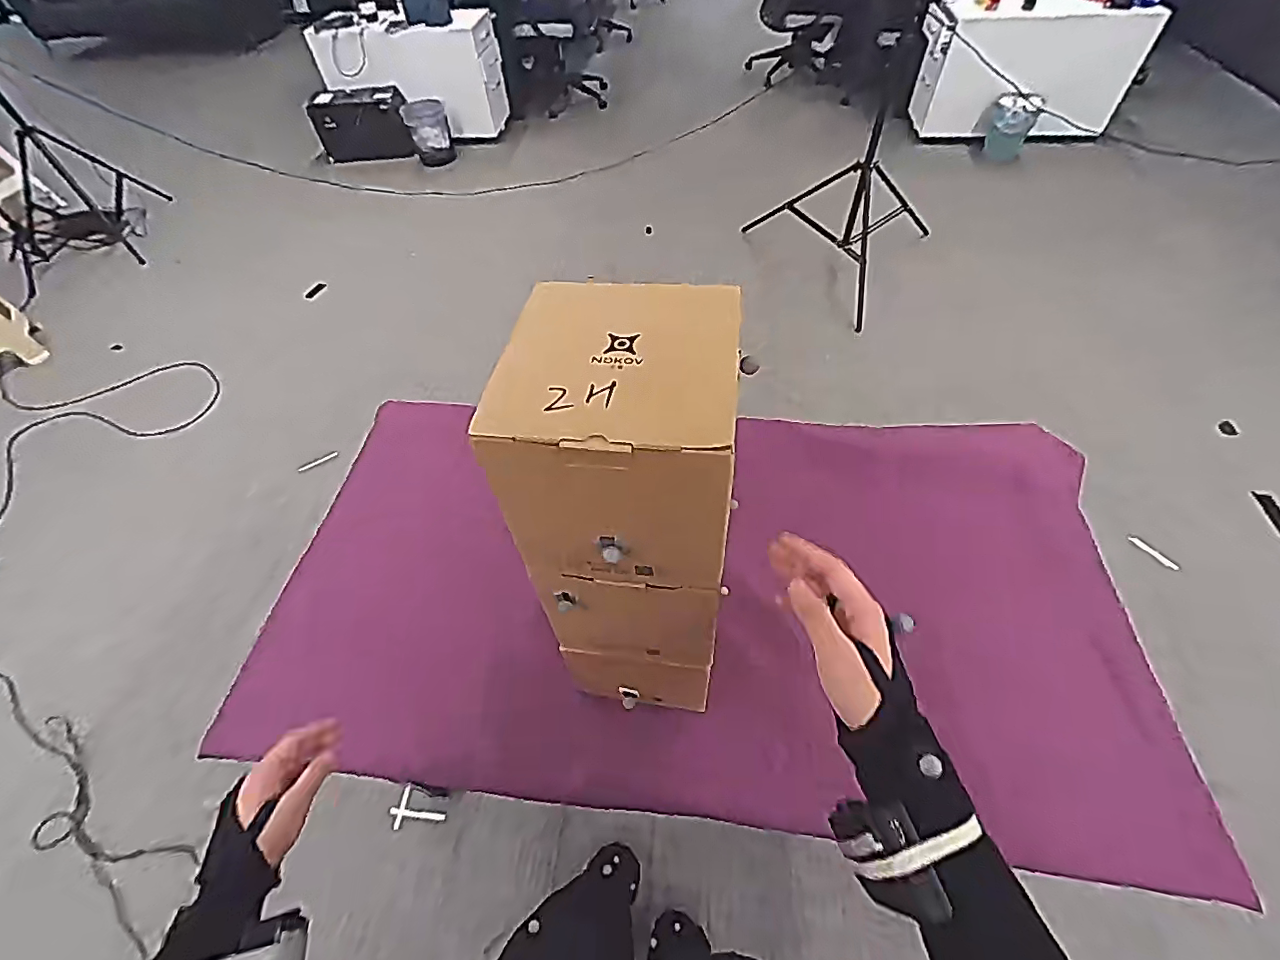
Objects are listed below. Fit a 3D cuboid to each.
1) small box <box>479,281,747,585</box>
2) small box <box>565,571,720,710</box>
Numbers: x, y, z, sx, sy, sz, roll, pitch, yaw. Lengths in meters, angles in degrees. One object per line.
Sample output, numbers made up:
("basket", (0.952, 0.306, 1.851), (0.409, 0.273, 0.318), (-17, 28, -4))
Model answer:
("small box", (-0.006, -0.038, 0.439), (0.168, 0.176, 0.179), (4, 51, 8))
("small box", (0.013, 0.173, 0.692), (0.168, 0.176, 0.179), (5, 53, 8))
